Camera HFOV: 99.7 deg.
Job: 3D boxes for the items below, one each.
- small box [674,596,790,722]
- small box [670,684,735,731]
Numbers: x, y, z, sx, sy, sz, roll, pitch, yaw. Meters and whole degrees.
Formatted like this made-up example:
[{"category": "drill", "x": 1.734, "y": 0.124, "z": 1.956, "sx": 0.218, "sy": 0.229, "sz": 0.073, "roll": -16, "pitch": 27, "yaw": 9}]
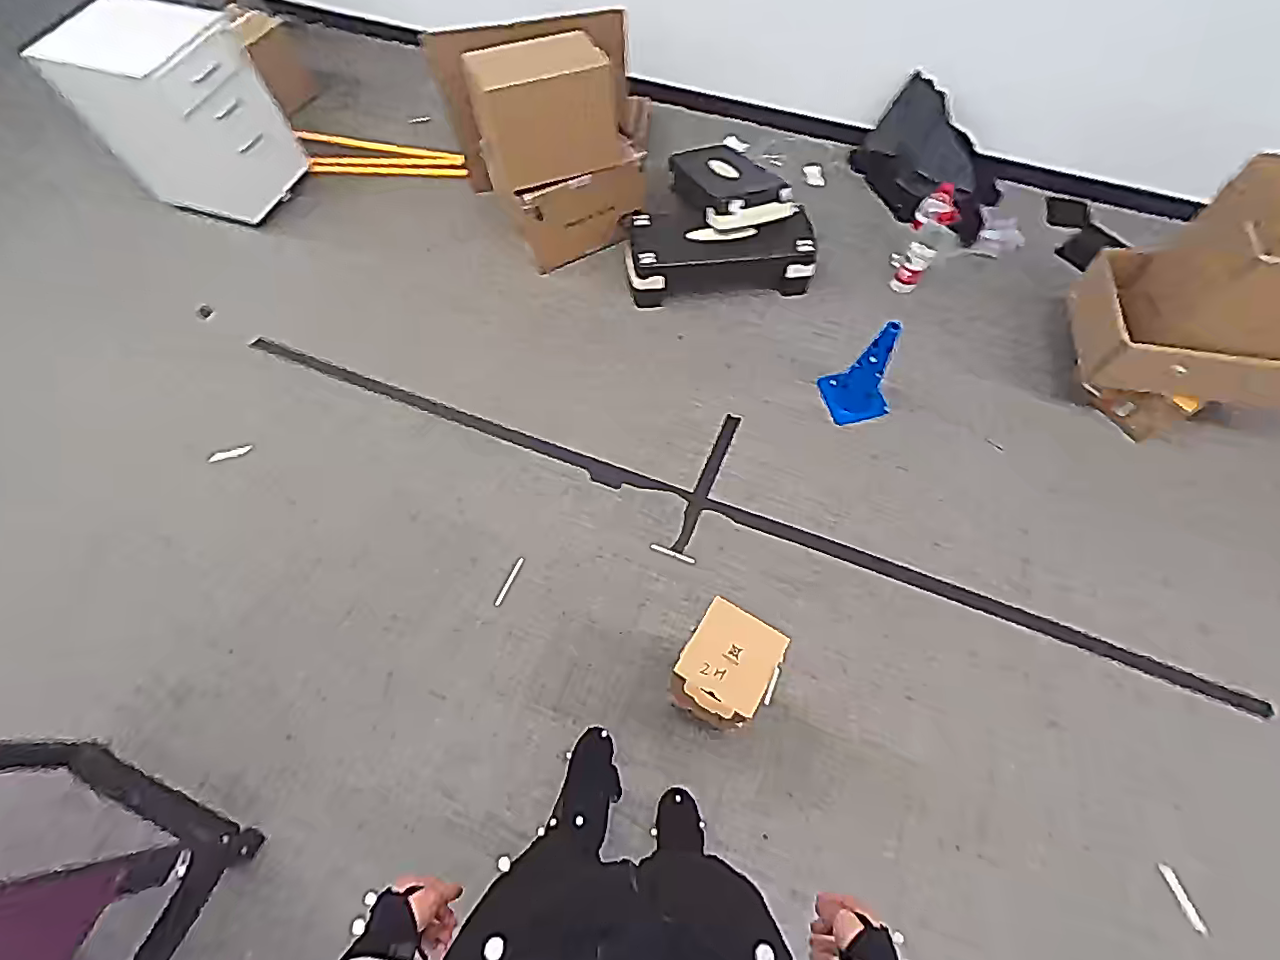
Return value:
[{"category": "small box", "x": 0.178, "y": 0.369, "z": 1.106, "sx": 0.168, "sy": 0.176, "sz": 0.179, "roll": 30, "pitch": 69, "yaw": 14}, {"category": "small box", "x": 0.187, "y": 0.528, "z": 1.396, "sx": 0.168, "sy": 0.176, "sz": 0.179, "roll": 25, "pitch": 67, "yaw": 12}]
